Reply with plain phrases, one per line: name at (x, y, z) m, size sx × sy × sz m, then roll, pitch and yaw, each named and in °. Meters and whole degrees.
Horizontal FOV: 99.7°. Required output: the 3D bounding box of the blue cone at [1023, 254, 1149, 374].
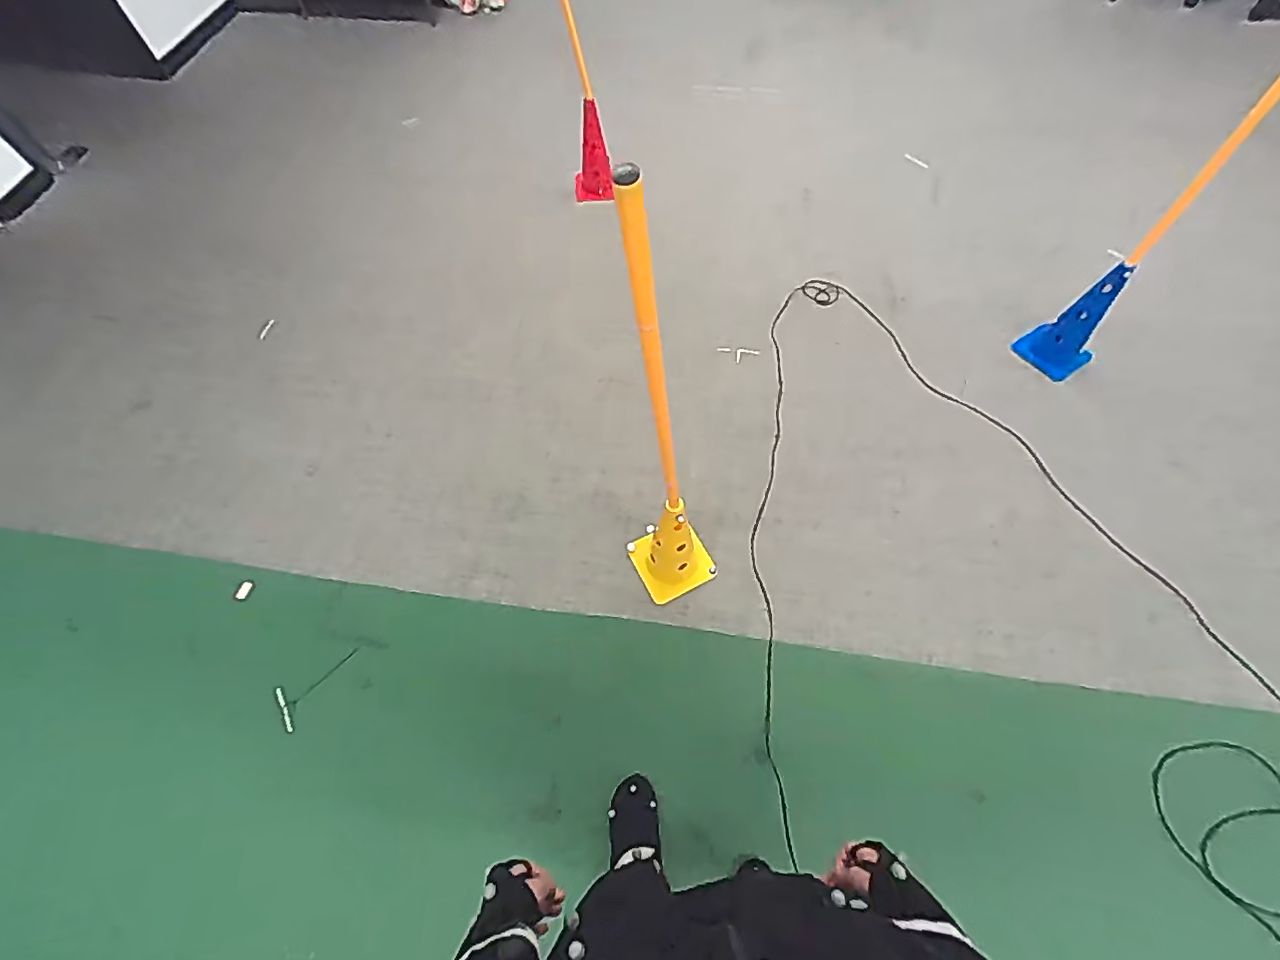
blue cone at (1.412, -0.536, 1.684) m, size 0.193 × 0.380 × 0.192 m, roll -32°, pitch 64°, yaw -17°
